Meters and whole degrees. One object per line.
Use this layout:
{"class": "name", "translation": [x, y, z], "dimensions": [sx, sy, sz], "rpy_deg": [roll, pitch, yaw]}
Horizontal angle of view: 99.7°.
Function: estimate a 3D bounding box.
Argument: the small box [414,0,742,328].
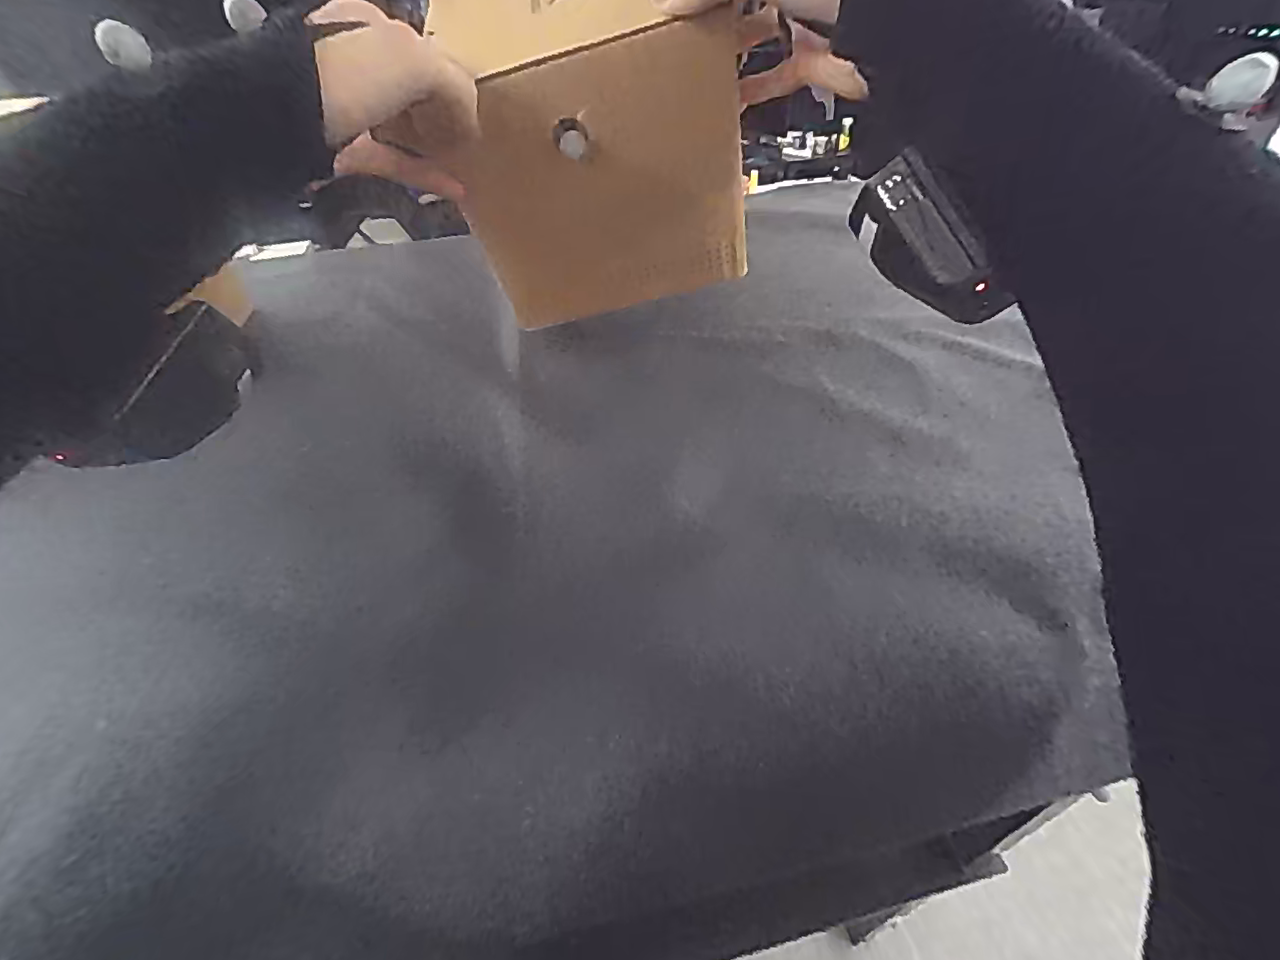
{"class": "small box", "translation": [-0.028, -0.239, 0.384], "dimensions": [0.179, 0.176, 0.168], "rpy_deg": [-13, 58, 8]}
